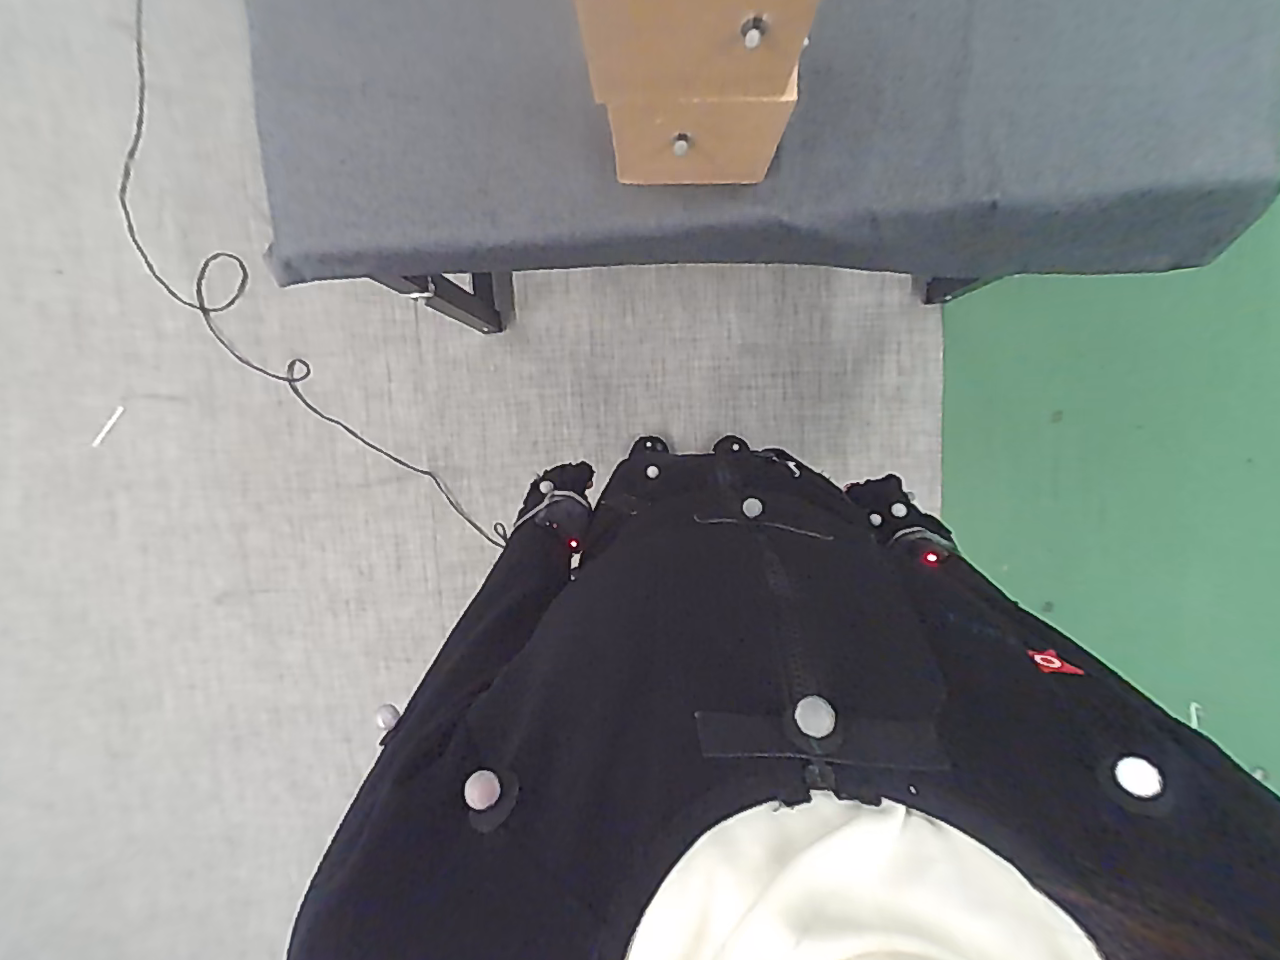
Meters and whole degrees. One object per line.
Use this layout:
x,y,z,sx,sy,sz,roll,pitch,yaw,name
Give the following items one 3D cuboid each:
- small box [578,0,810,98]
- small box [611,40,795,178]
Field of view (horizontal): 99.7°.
0.042,-0.429,0.414,0.179,0.176,0.168,-1,94,3,small box
0.060,-0.443,0.575,0.179,0.176,0.168,1,95,2,small box
